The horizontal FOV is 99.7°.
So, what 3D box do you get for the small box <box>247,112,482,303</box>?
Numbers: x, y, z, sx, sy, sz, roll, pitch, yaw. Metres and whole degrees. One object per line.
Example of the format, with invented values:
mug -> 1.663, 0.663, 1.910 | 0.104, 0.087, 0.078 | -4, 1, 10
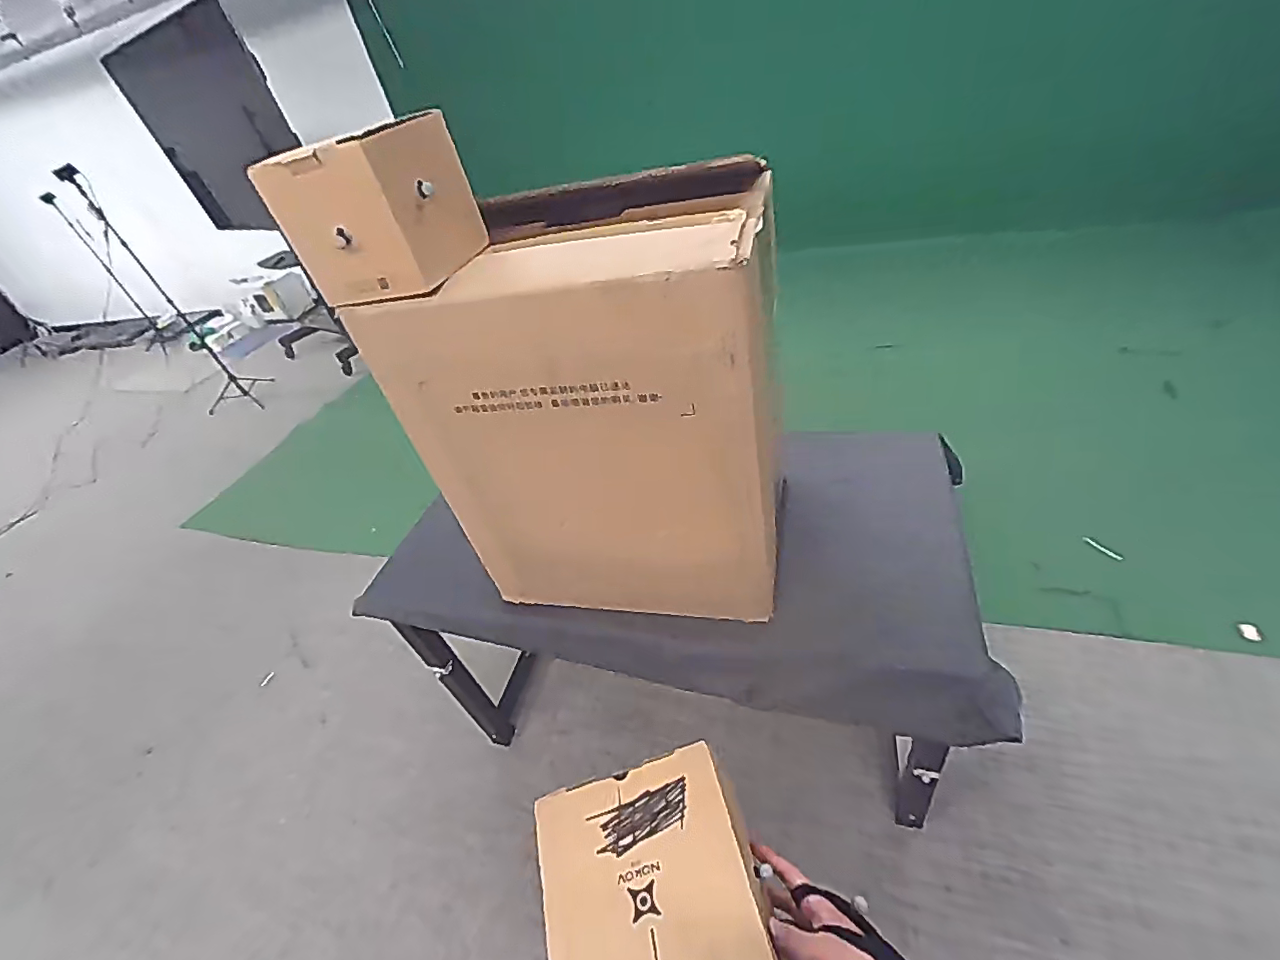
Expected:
small box -> -0.331, -0.339, 0.693 | 0.168, 0.176, 0.179 | 0, 42, 19
